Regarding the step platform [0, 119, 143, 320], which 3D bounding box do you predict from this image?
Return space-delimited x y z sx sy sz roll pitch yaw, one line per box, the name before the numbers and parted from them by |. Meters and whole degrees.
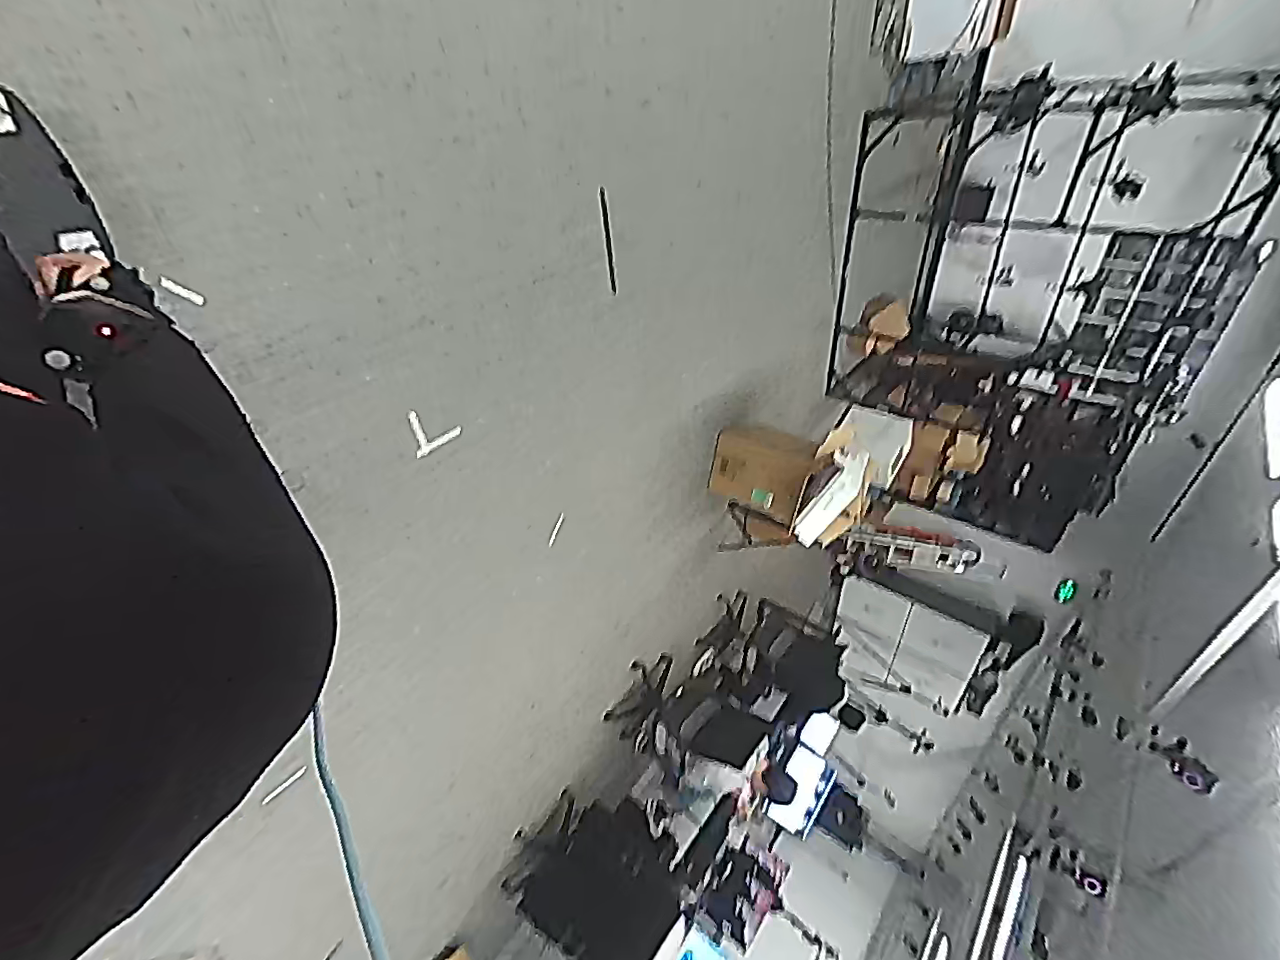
step platform | -1.207 -0.361 0.801 0.684 0.204 0.286 -35 135 -40
